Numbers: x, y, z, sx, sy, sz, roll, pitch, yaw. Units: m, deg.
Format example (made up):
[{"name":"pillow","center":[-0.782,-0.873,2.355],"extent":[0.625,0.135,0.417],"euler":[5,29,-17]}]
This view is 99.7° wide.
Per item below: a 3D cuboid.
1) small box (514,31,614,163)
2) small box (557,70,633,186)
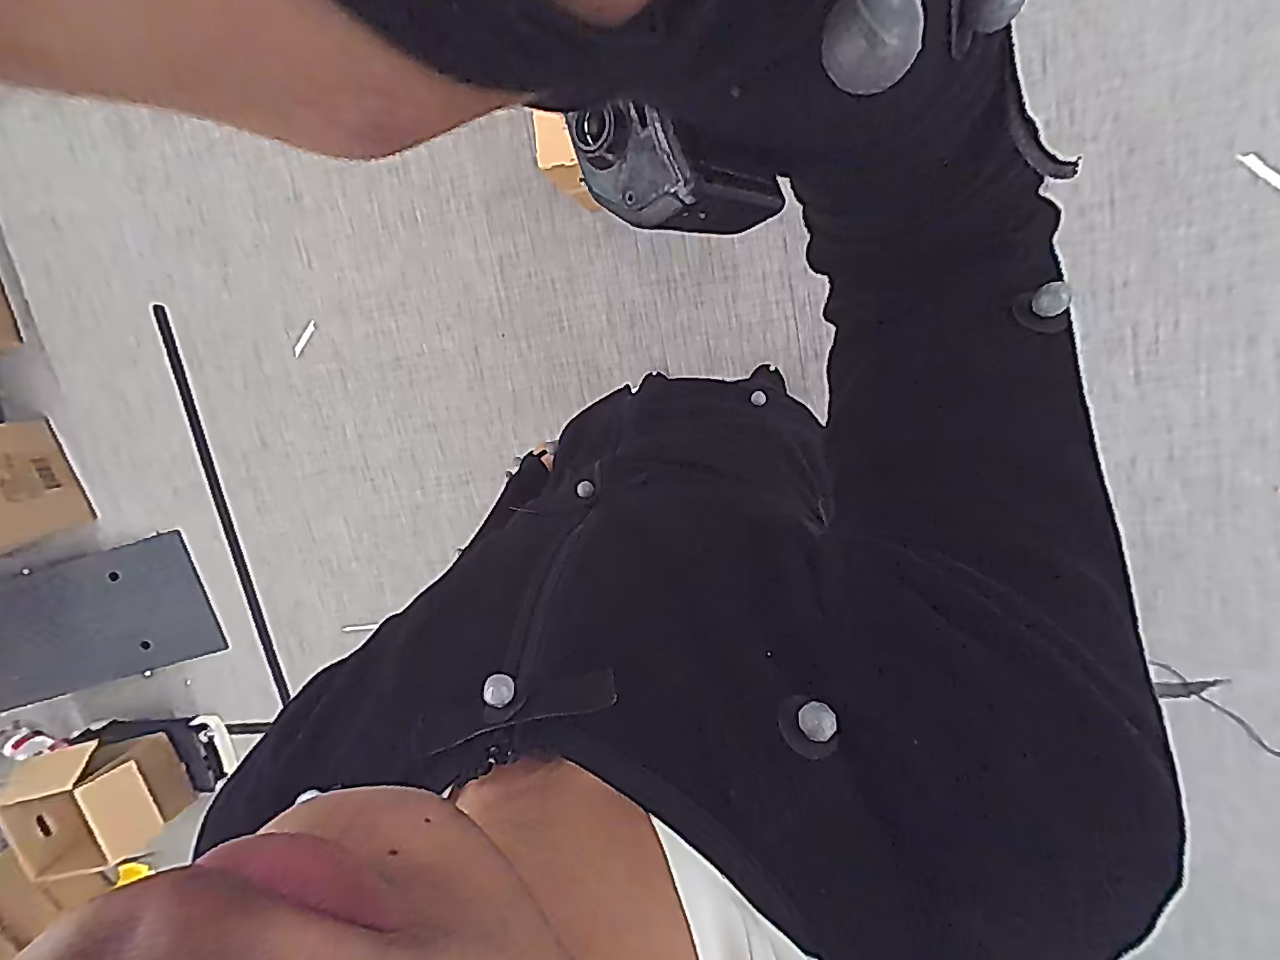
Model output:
[{"name":"small box","center":[-0.159,-0.829,1.188],"extent":[0.168,0.176,0.179],"euler":[-3,103,12]},{"name":"small box","center":[-0.120,-0.862,1.342],"extent":[0.168,0.176,0.179],"euler":[-6,101,12]}]
